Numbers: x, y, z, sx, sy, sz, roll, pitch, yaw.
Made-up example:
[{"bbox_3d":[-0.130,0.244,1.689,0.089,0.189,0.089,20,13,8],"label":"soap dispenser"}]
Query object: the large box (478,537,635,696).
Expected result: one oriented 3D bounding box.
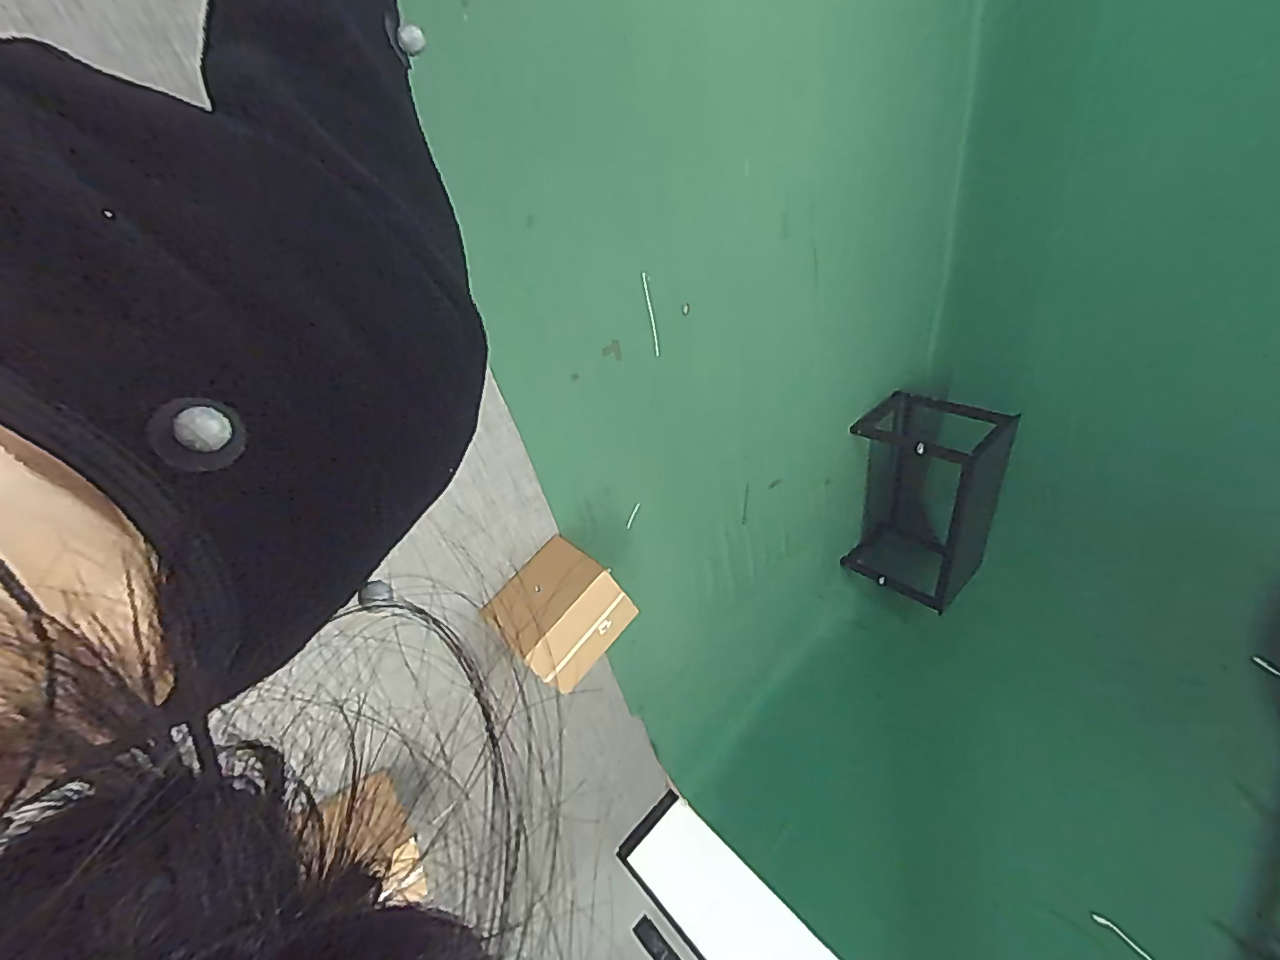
[{"bbox_3d":[-0.301,0.491,1.979,0.408,0.320,0.320,-48,136,-18],"label":"large box"}]
